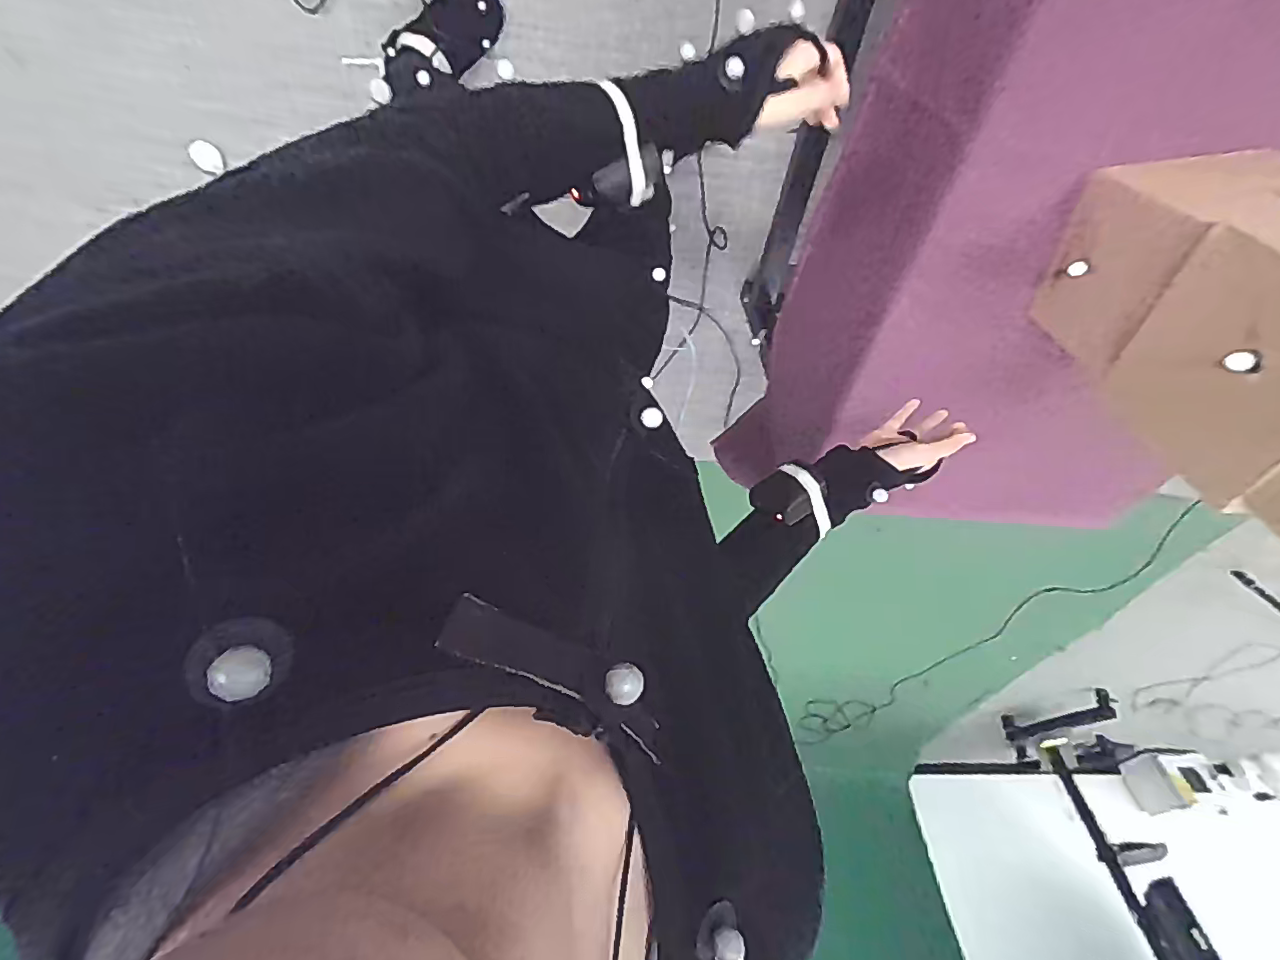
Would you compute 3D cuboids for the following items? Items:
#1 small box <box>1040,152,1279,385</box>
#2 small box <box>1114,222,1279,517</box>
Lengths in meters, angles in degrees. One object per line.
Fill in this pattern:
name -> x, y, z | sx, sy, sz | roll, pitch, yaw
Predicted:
small box -> 0.563, -0.210, 0.543 | 0.179, 0.176, 0.168 | -5, 135, 3
small box -> 0.545, -0.091, 0.430 | 0.168, 0.176, 0.179 | -1, 136, 0
